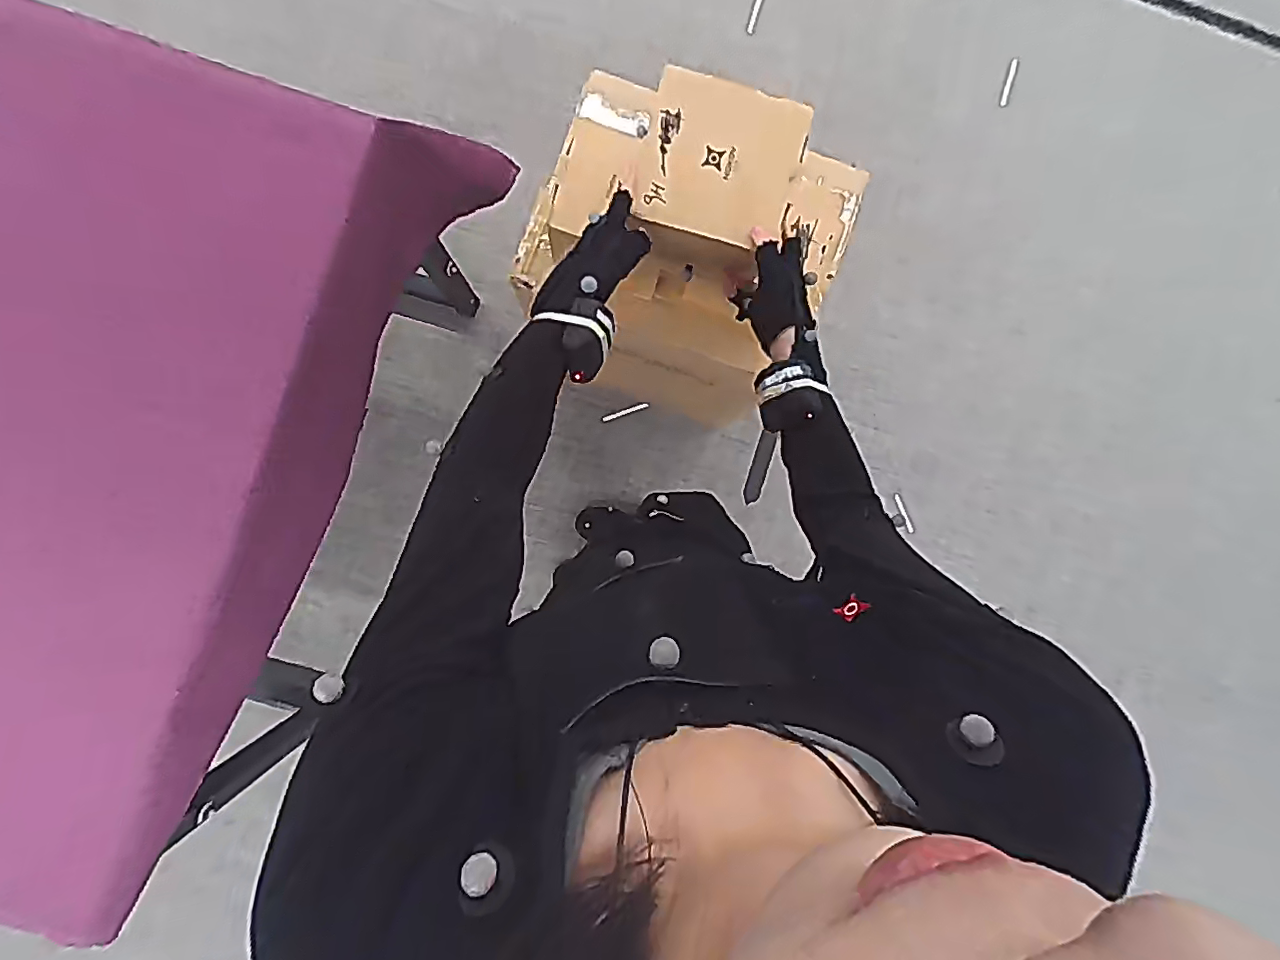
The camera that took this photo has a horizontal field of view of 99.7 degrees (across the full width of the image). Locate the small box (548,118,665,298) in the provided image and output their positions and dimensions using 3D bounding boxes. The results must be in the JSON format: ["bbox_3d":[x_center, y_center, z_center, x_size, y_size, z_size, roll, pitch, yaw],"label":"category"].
[{"bbox_3d":[-0.030,-0.407,0.842,0.179,0.176,0.168,18,88,-4],"label":"small box"}]

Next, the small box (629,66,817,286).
[{"bbox_3d":[0.089,-0.358,0.676,0.179,0.176,0.168,14,95,-3],"label":"small box"}]

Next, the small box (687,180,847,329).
[{"bbox_3d":[0.187,-0.356,0.850,0.179,0.176,0.168,21,88,0],"label":"small box"}]
